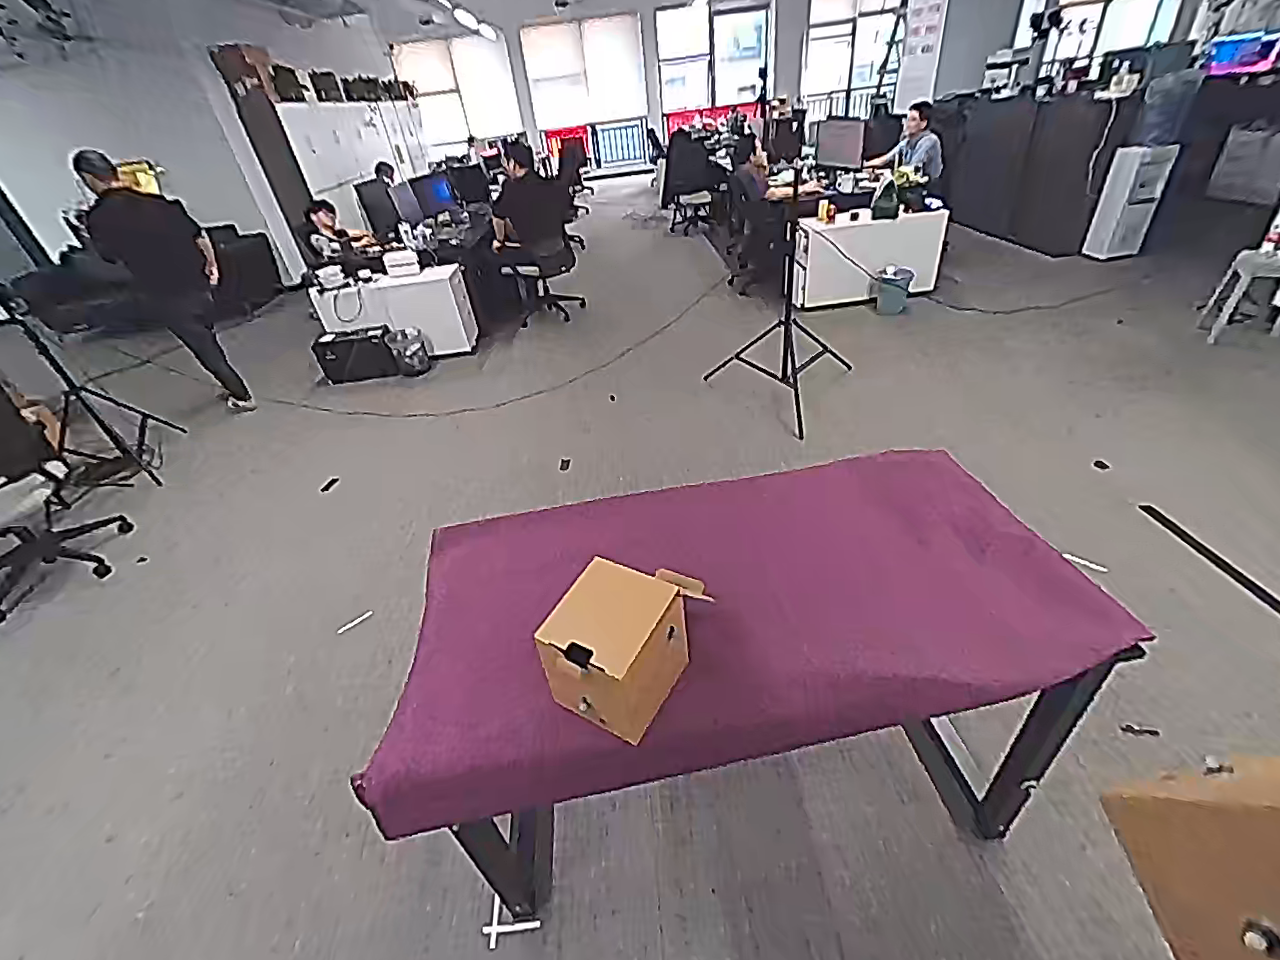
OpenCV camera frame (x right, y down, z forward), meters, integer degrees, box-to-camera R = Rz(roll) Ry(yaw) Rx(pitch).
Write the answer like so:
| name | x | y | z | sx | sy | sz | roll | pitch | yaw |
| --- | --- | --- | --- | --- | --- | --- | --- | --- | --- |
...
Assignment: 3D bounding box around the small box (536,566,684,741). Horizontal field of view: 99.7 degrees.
| name | x | y | z | sx | sy | sz | roll | pitch | yaw |
| --- | --- | --- | --- | --- | --- | --- | --- | --- | --- |
| small box | -0.038 | 0.277 | 0.879 | 0.168 | 0.176 | 0.179 | 14 | 40 | 30 |
